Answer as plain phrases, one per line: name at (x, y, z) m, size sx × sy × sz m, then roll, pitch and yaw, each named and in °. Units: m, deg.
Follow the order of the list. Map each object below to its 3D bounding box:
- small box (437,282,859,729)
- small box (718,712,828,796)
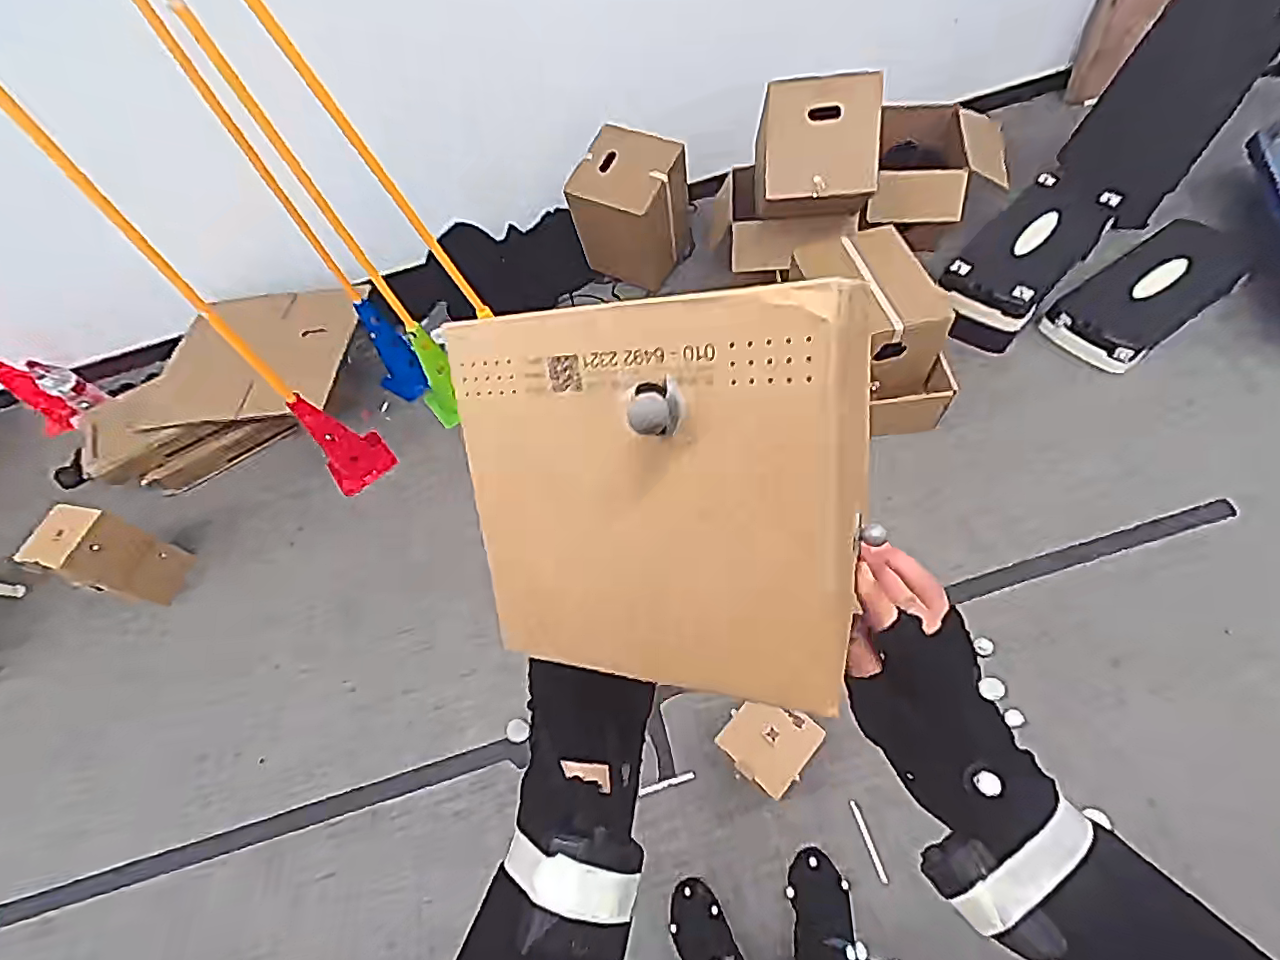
small box at (0.025, -0.010, 0.291) m, size 0.168 × 0.176 × 0.179 m, roll 1°, pitch 19°, yaw 26°
small box at (0.294, 0.575, 1.207) m, size 0.168 × 0.176 × 0.179 m, roll 35°, pitch 70°, yaw 26°
